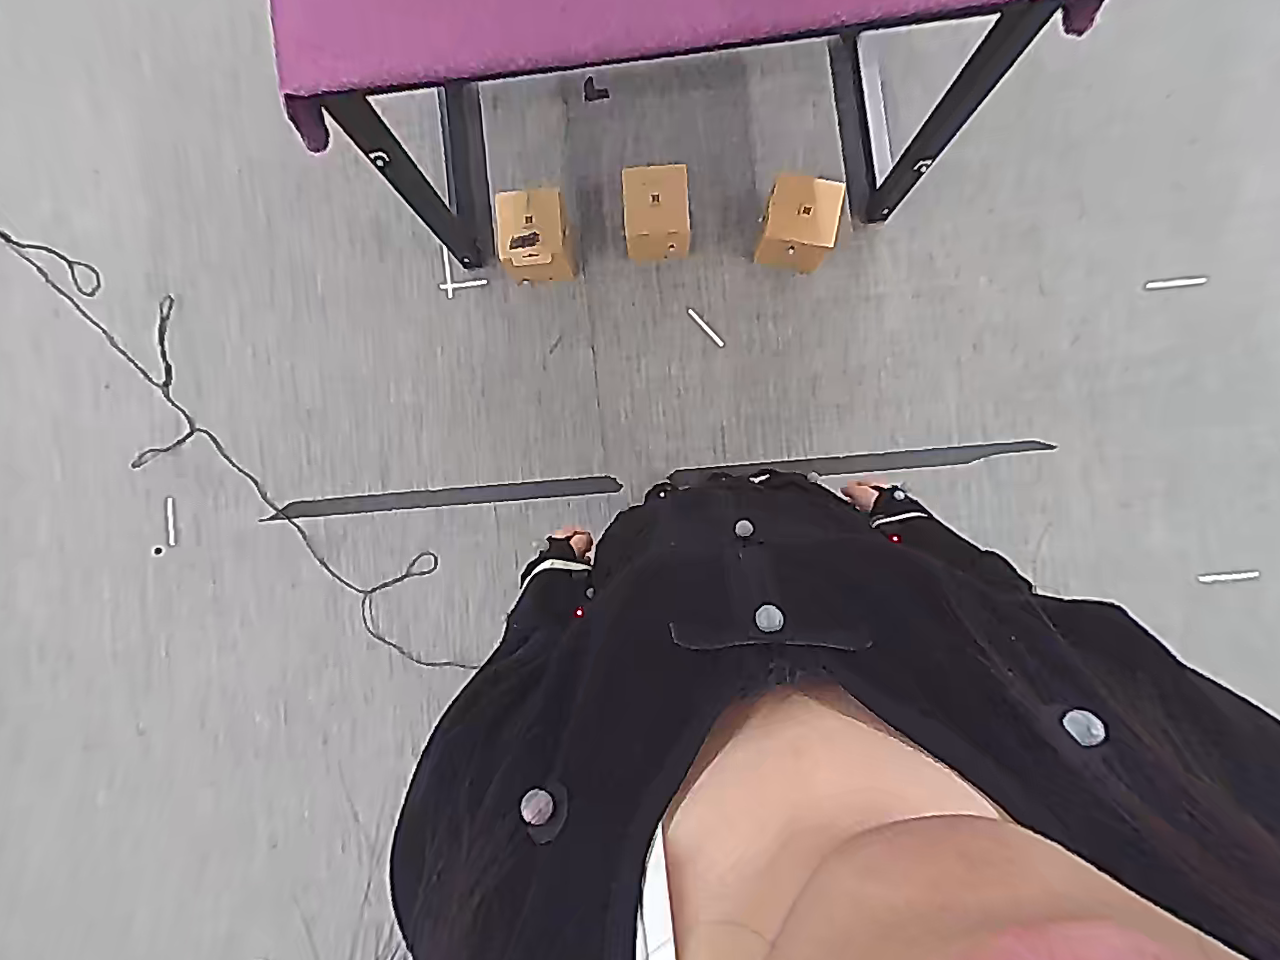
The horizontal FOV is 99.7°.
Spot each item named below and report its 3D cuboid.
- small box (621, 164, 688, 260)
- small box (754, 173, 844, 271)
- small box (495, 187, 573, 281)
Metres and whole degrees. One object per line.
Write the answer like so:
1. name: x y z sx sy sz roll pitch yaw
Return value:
1. small box: 0.041 -0.703 1.441 0.168 0.176 0.179 -4 88 1
2. small box: 0.412 -0.672 1.427 0.179 0.176 0.168 11 90 4
3. small box: -0.279 -0.649 1.450 0.168 0.176 0.179 -5 88 2
